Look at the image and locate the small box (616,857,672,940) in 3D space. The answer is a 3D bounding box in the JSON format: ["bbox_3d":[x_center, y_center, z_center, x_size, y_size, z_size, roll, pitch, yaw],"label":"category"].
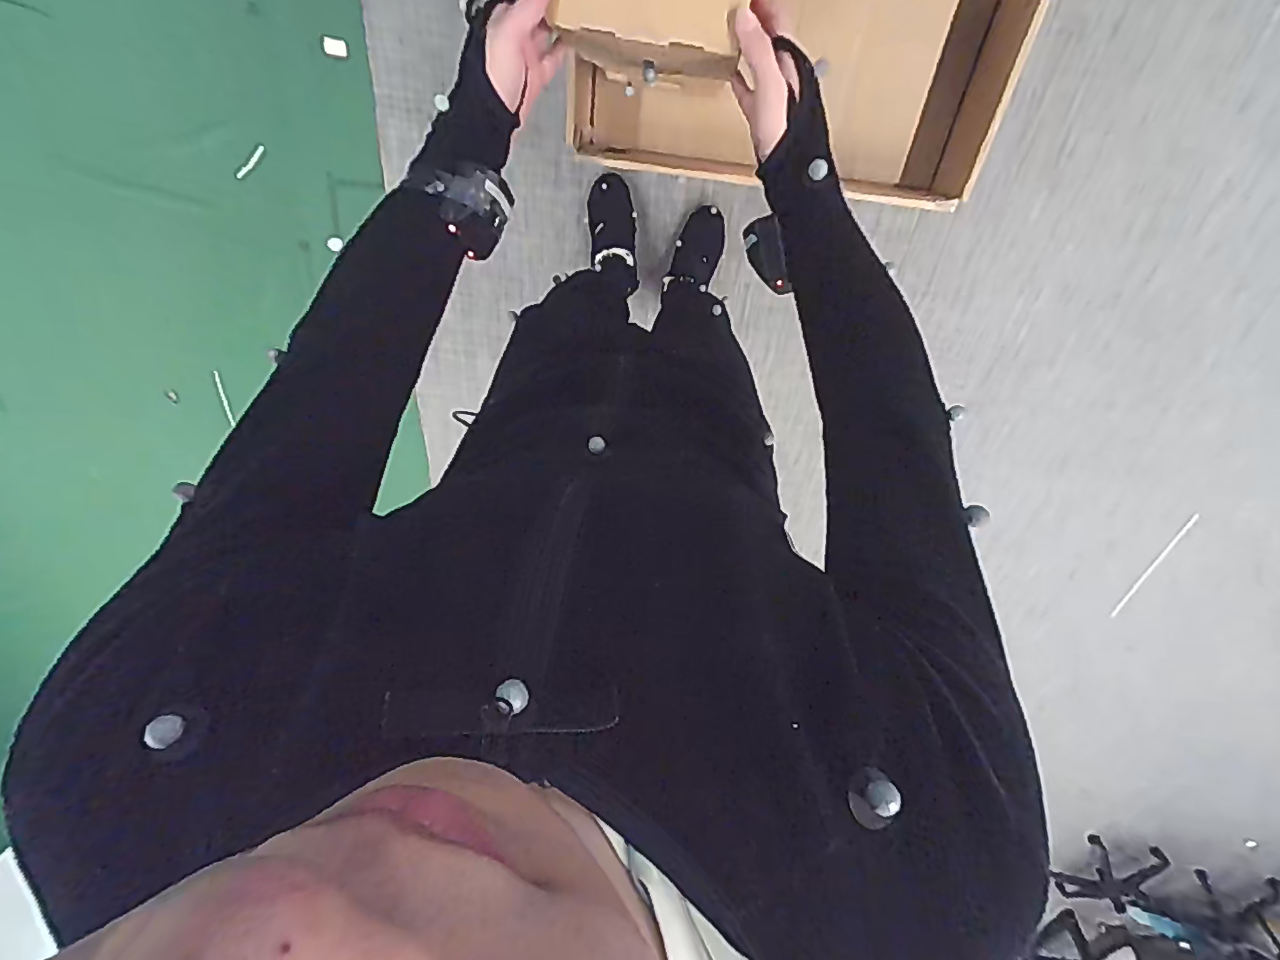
[{"bbox_3d":[0.015,1.360,1.763,0.168,0.176,0.179,6,125,1],"label":"small box"}]

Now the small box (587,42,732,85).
[{"bbox_3d":[0.039,-0.579,0.622,0.168,0.176,0.179,9,123,0],"label":"small box"}]

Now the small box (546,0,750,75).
[{"bbox_3d":[0.023,-0.479,0.465,0.168,0.176,0.179,11,121,1],"label":"small box"}]
